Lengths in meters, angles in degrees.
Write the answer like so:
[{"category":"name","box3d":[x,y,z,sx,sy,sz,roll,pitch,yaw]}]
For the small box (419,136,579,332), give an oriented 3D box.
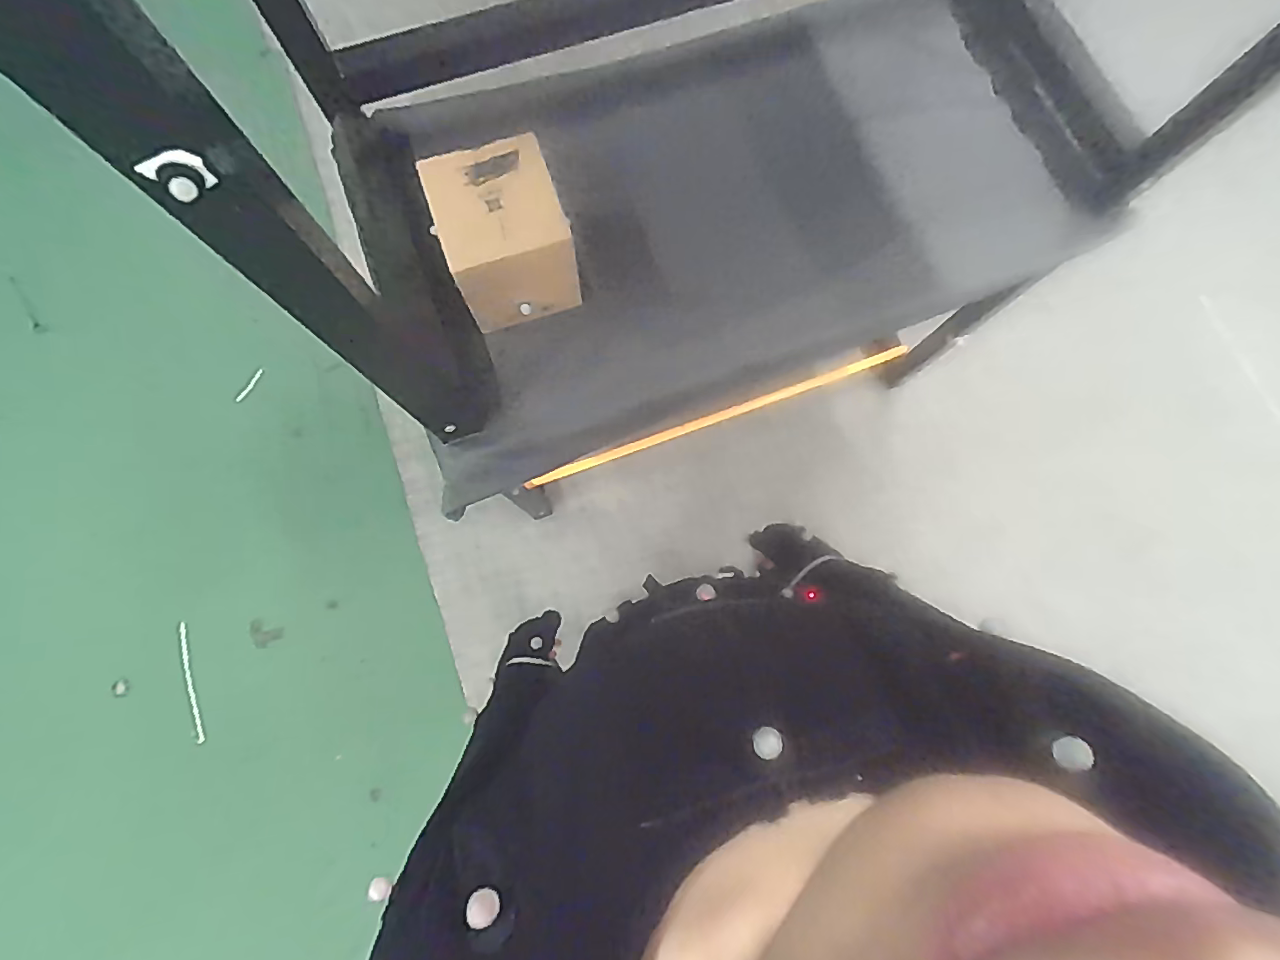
[{"category":"small box","box3d":[-0.196,-0.349,0.792,0.168,0.176,0.179,-19,79,-5]}]
